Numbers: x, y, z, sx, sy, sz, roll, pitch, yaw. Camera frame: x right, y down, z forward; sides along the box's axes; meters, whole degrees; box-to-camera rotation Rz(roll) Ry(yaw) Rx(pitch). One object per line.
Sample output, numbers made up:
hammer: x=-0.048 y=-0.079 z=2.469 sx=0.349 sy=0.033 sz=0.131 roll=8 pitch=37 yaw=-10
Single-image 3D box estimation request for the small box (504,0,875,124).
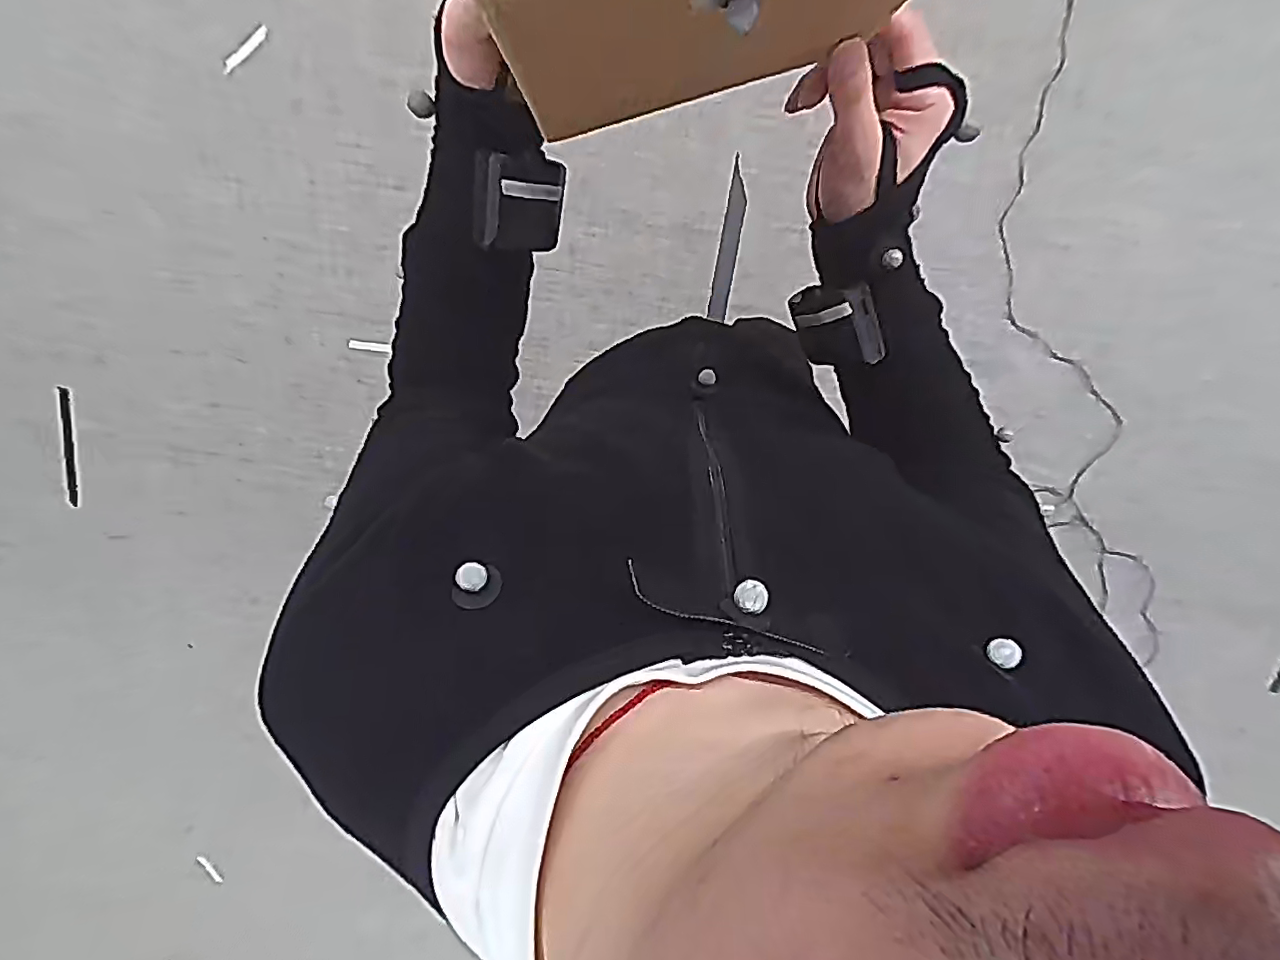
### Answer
small box: x=0.016 y=-0.262 z=0.199 sx=0.179 sy=0.176 sz=0.168 roll=-15 pitch=111 yaw=2
